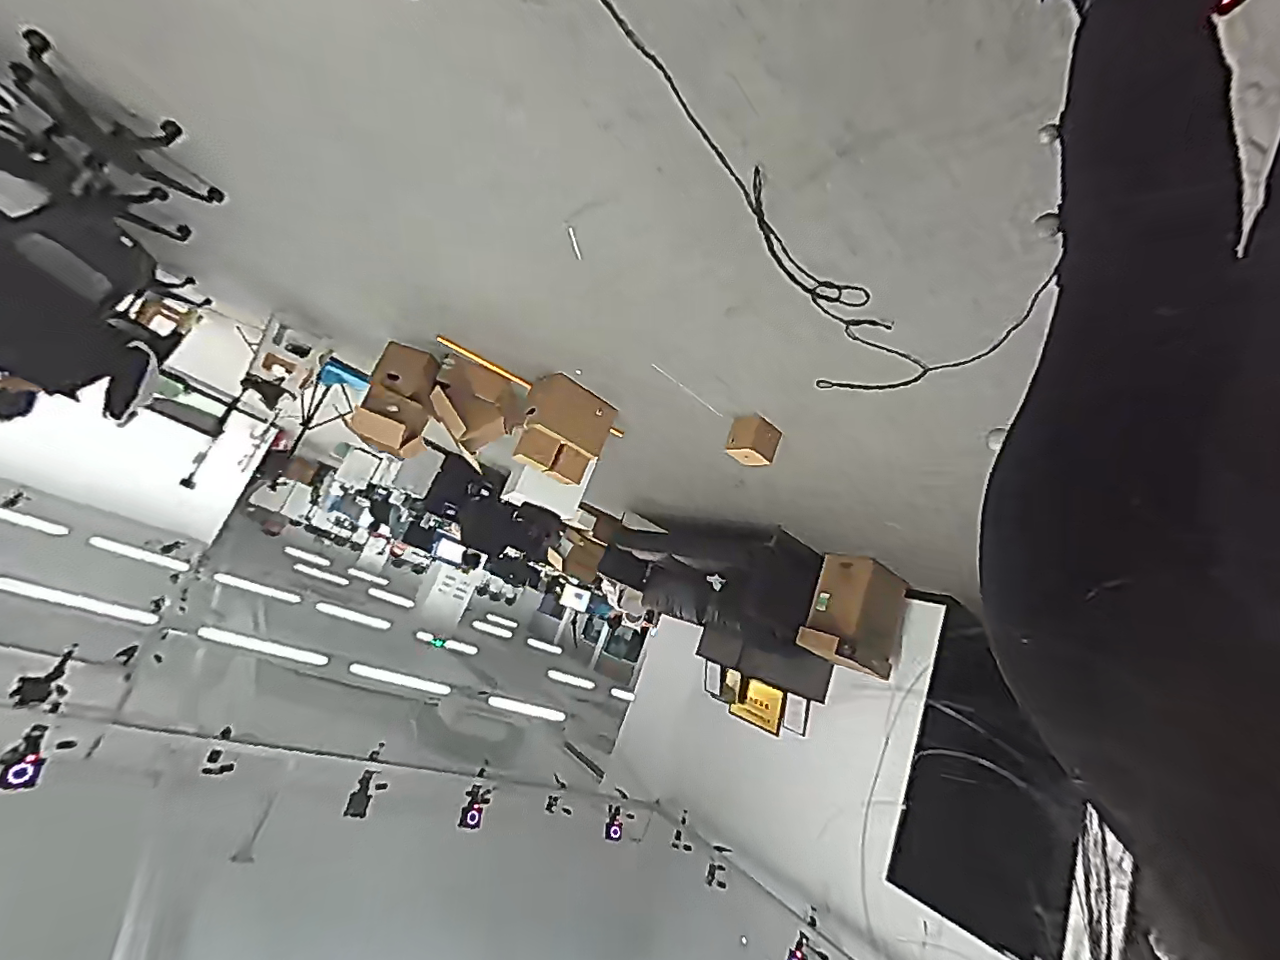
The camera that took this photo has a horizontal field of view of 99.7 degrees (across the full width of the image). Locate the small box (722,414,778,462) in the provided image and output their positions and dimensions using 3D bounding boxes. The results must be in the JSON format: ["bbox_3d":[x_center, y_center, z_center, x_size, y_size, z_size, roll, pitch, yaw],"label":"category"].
[{"bbox_3d":[0.521,-0.194,2.541,0.168,0.176,0.179,29,164,-32],"label":"small box"}]
